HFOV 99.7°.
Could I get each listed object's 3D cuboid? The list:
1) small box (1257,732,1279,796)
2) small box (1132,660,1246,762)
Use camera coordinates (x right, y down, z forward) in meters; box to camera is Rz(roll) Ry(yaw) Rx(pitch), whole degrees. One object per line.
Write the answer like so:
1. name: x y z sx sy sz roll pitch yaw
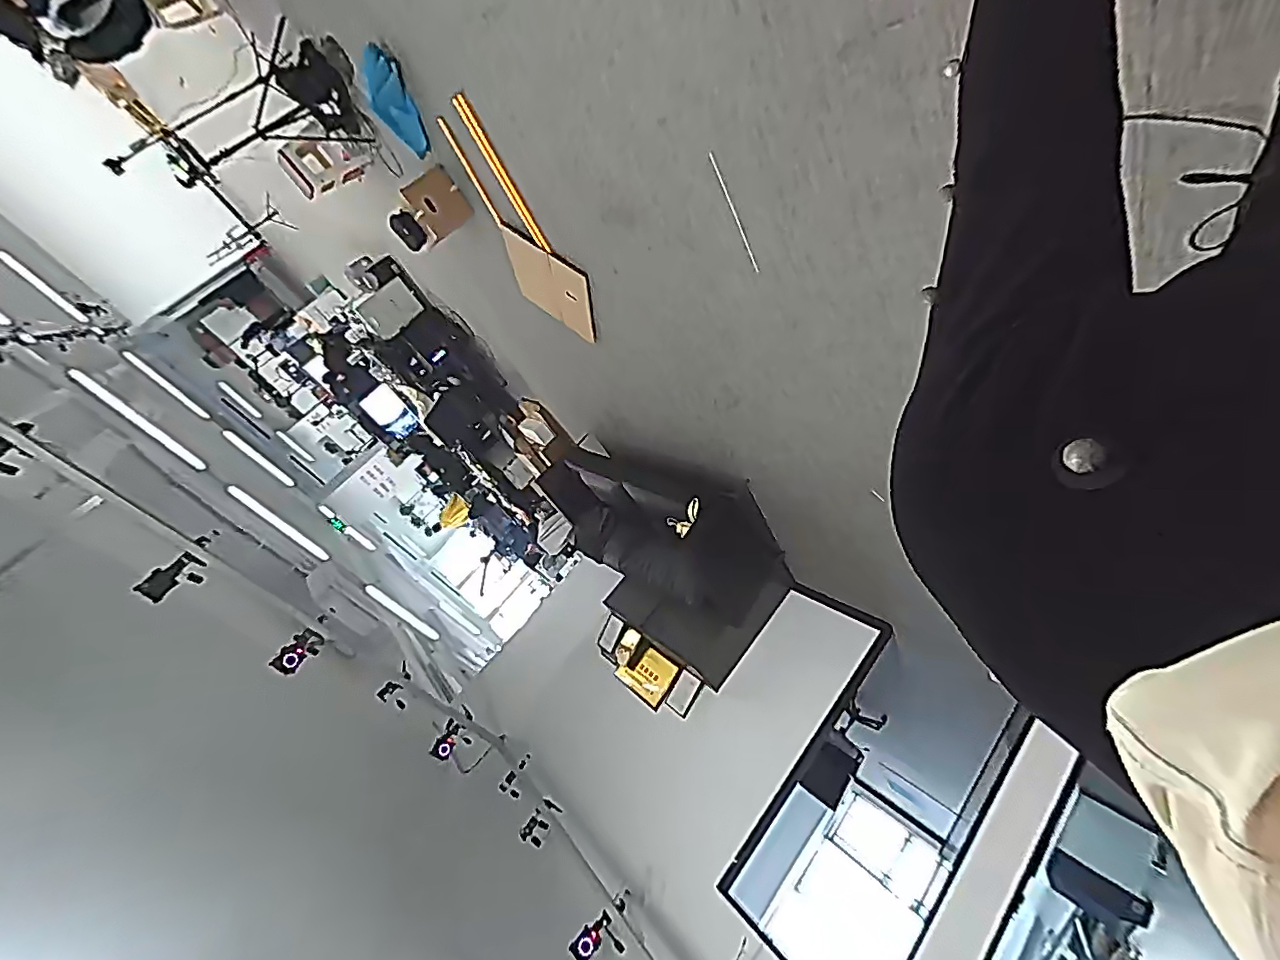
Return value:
1. small box: 1.680 0.712 1.316 0.168 0.176 0.179 27 157 42
2. small box: 1.506 0.628 1.485 0.168 0.176 0.179 26 157 43
